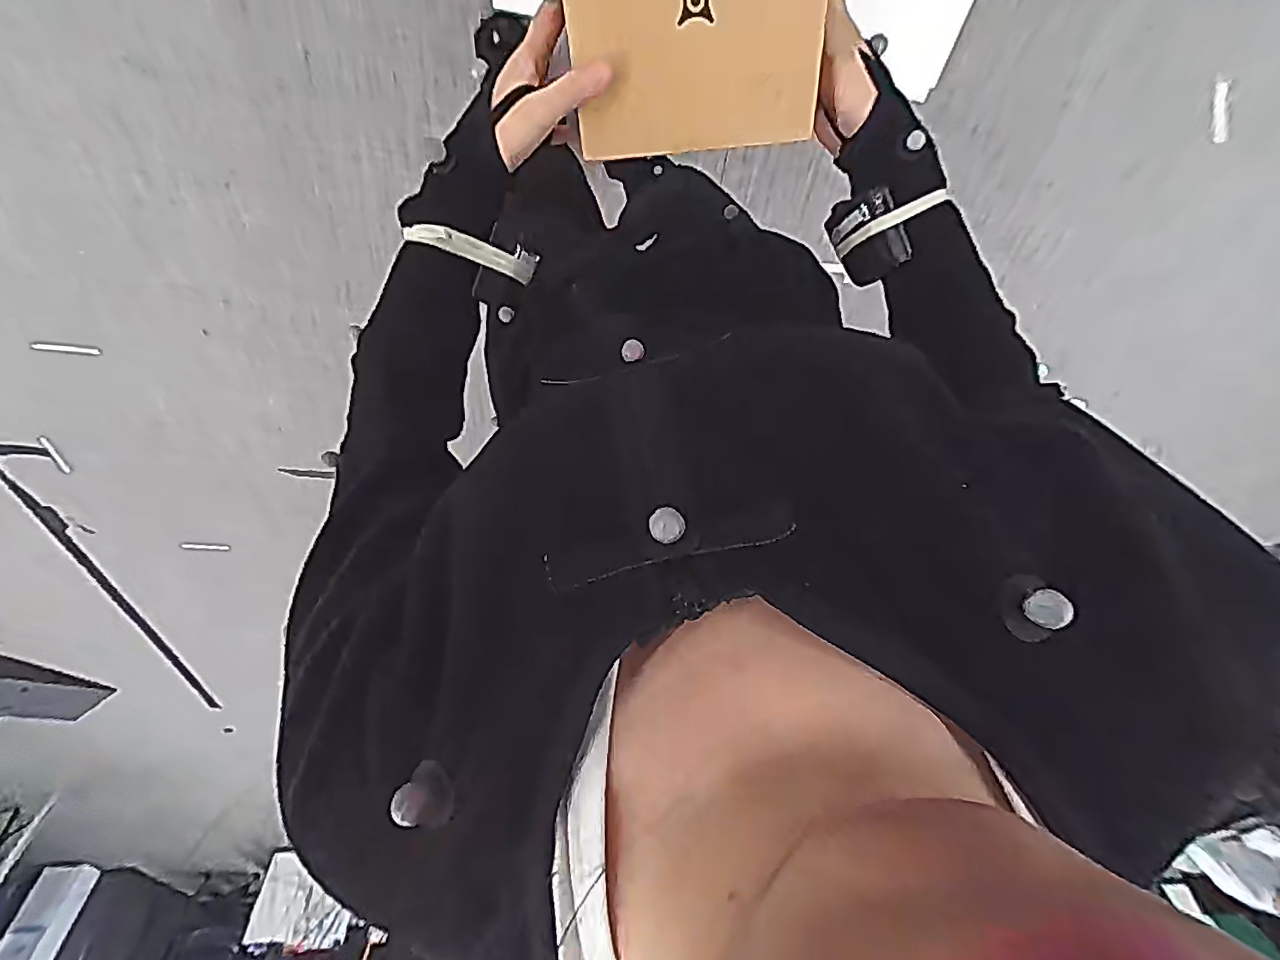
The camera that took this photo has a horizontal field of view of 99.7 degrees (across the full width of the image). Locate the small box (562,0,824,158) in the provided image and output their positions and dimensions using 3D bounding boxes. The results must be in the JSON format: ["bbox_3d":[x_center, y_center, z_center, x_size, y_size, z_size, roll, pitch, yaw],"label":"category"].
[{"bbox_3d":[0.032,-0.356,0.390,0.168,0.176,0.179,-4,132,2],"label":"small box"}]
